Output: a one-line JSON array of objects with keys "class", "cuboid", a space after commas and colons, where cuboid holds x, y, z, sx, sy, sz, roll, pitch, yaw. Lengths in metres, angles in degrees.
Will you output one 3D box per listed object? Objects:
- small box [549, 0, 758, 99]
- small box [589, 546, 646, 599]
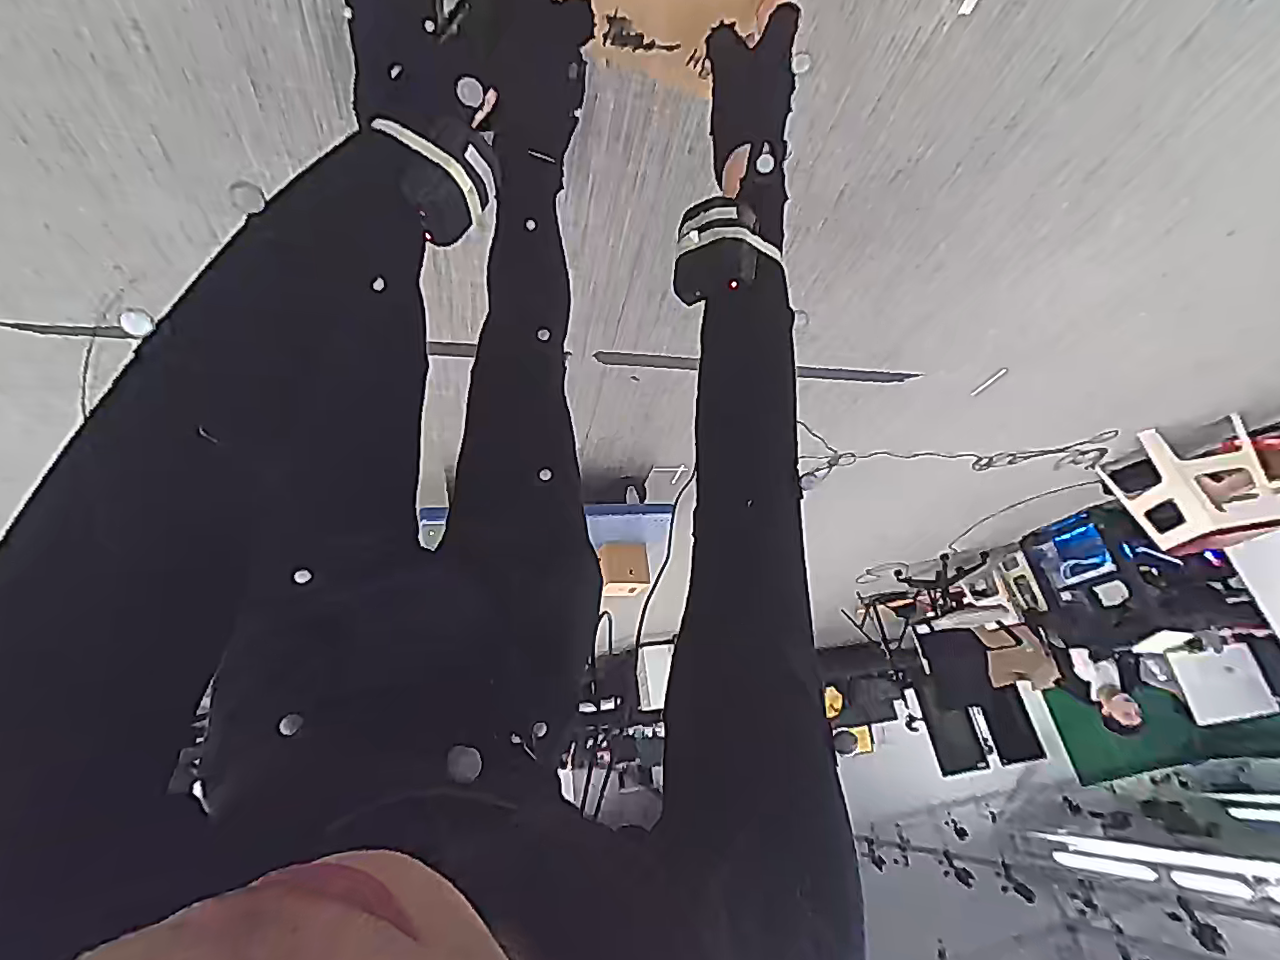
[{"class": "small box", "cuboid": [0.019, -0.490, 0.467, 0.168, 0.176, 0.179, 7, 148, -21]}, {"class": "small box", "cuboid": [-0.095, 0.368, 2.153, 0.179, 0.176, 0.168, 6, 150, -24]}]
